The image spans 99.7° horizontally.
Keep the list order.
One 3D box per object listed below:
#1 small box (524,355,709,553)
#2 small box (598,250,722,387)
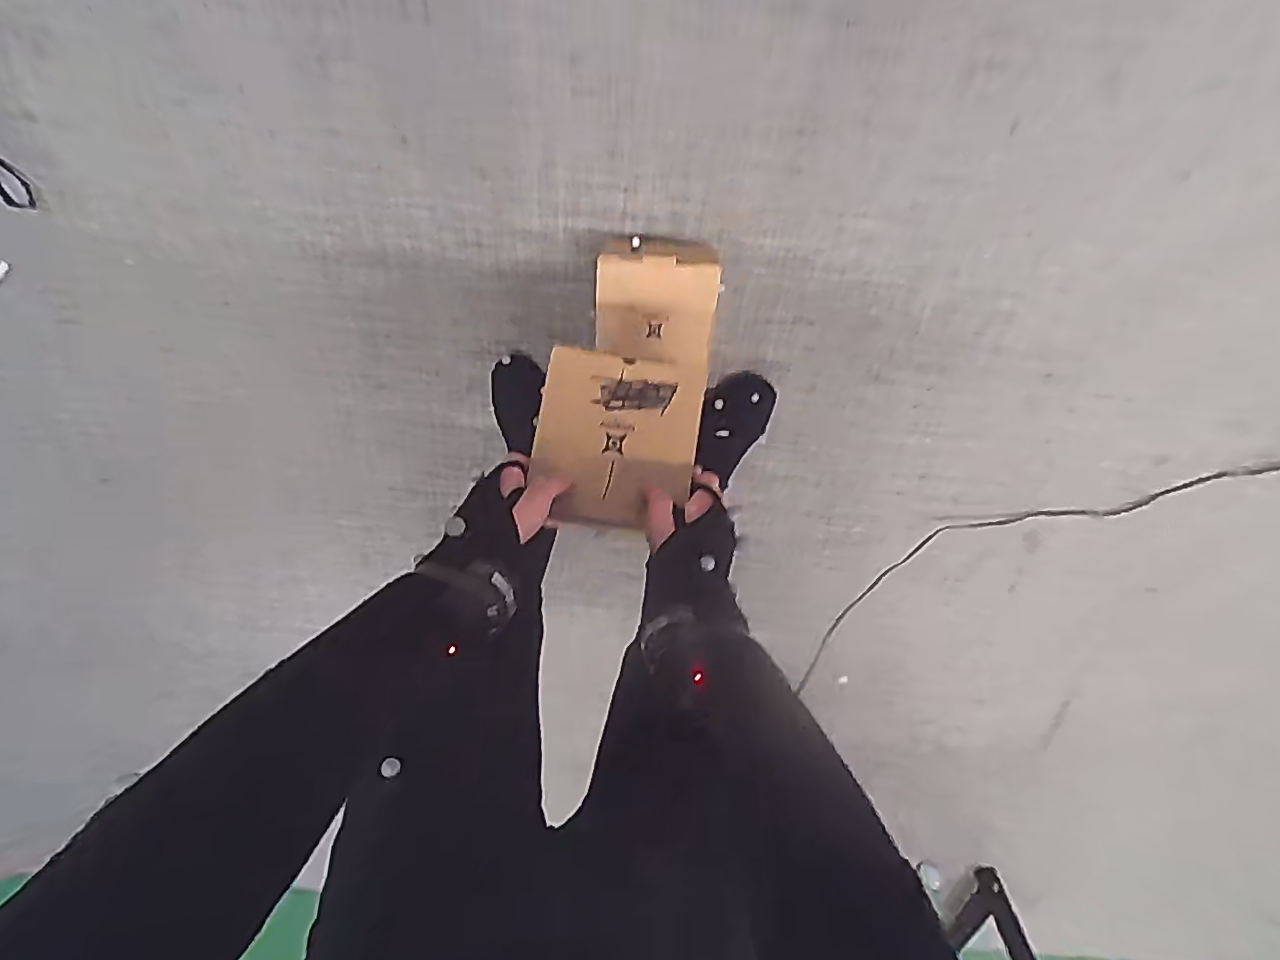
[{"bbox_3d":[-0.024,-0.018,0.622,0.168,0.176,0.179,9,78,0],"label":"small box"},{"bbox_3d":[0.027,-0.244,0.822,0.168,0.176,0.179,4,122,2],"label":"small box"}]
